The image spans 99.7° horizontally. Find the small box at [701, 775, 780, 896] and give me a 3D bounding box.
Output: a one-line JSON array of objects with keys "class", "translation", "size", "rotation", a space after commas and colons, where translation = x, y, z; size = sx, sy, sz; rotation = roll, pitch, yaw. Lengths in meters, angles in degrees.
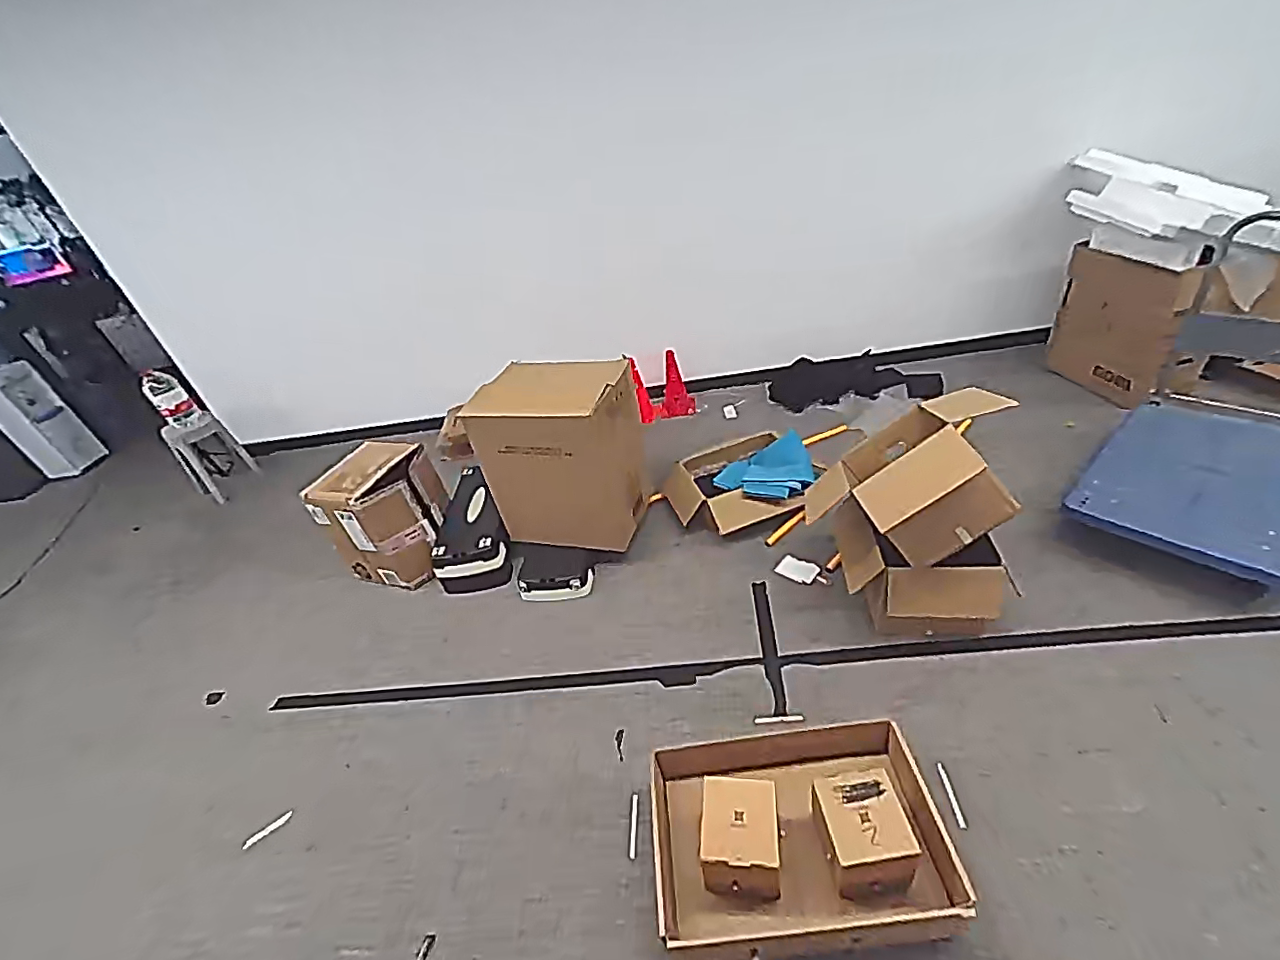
[{"class": "small box", "translation": [0.231, 0.810, 1.236], "size": [0.168, 0.176, 0.179], "rotation": [-2, 36, 12]}]
